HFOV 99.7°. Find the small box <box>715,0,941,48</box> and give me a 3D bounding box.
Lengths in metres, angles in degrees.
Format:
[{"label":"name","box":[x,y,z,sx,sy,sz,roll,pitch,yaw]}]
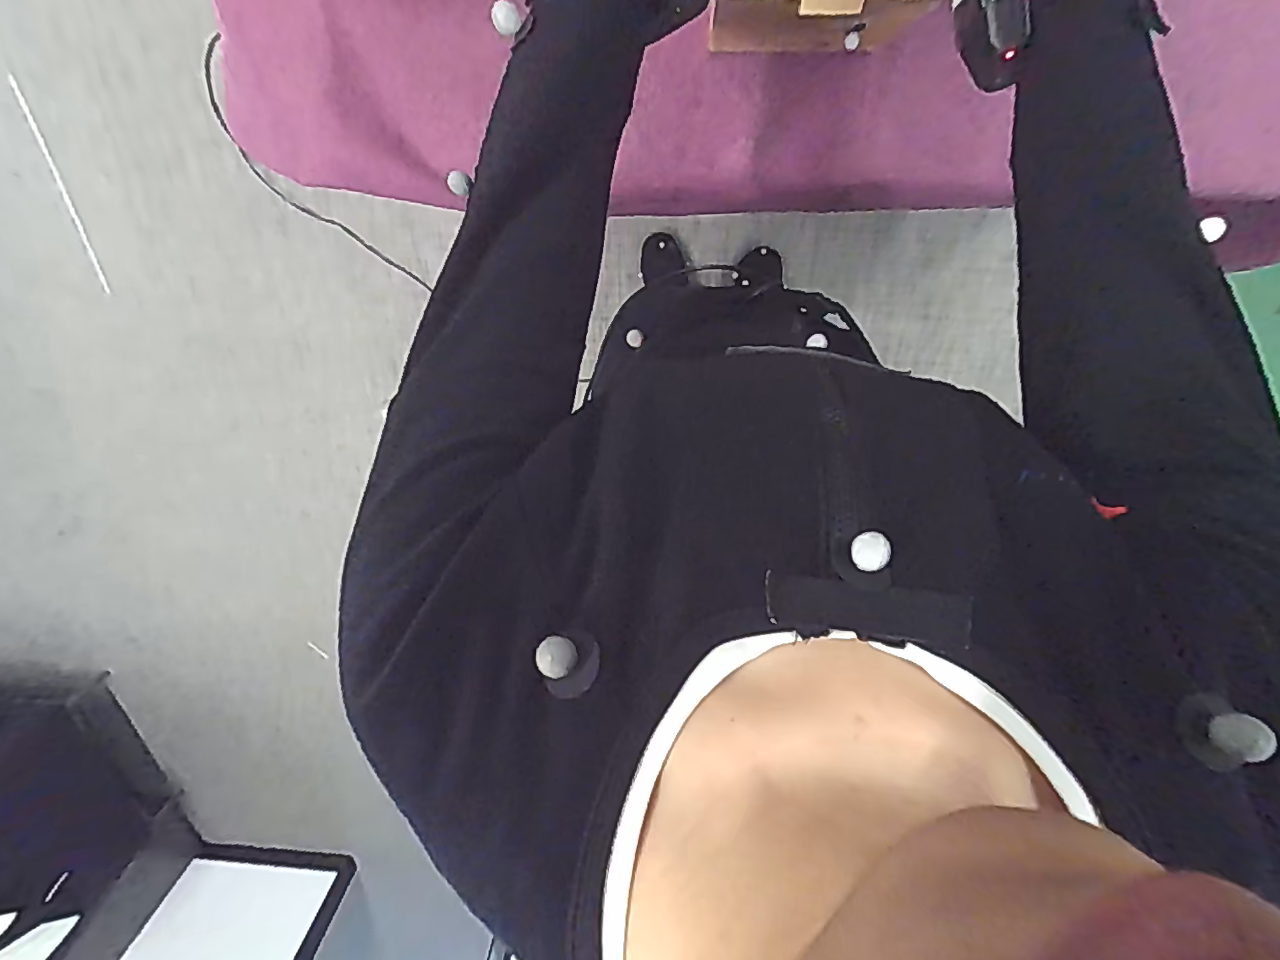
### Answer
[{"label":"small box","box":[0.148,-0.458,0.416,0.168,0.176,0.179,3,118,3]}]
